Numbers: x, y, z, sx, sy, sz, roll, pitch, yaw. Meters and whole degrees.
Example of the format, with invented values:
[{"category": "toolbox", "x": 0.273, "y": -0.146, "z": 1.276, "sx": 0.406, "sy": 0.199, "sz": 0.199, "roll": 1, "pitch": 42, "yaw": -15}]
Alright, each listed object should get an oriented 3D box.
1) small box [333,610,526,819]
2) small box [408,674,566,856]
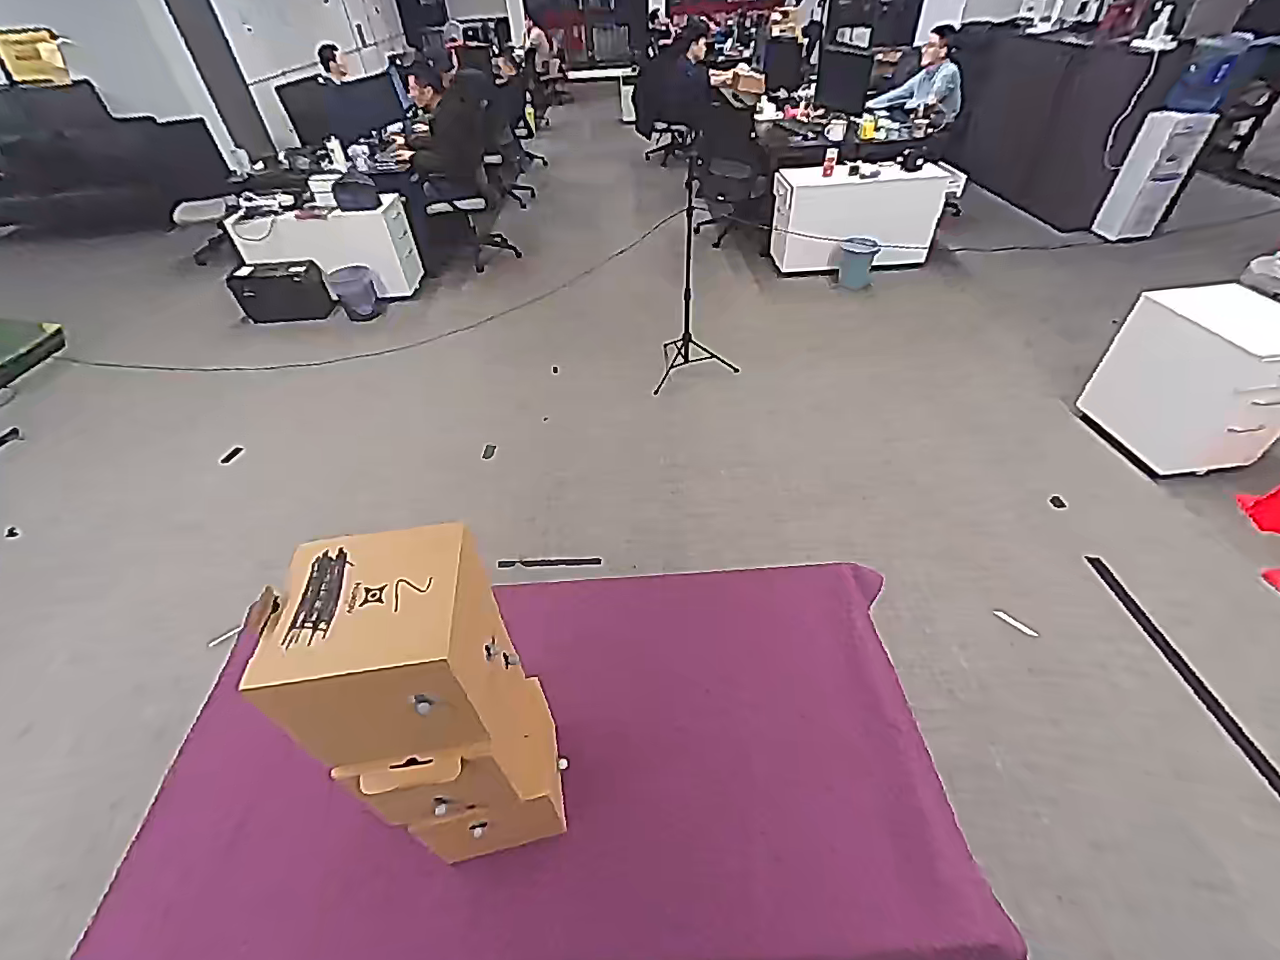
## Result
[{"category": "small box", "x": -0.241, "y": 0.290, "z": 0.673, "sx": 0.168, "sy": 0.176, "sz": 0.179, "roll": -8, "pitch": 43, "yaw": -3}, {"category": "small box", "x": -0.212, "y": 0.412, "z": 0.781, "sx": 0.179, "sy": 0.176, "sz": 0.168, "roll": -10, "pitch": 44, "yaw": -8}]
